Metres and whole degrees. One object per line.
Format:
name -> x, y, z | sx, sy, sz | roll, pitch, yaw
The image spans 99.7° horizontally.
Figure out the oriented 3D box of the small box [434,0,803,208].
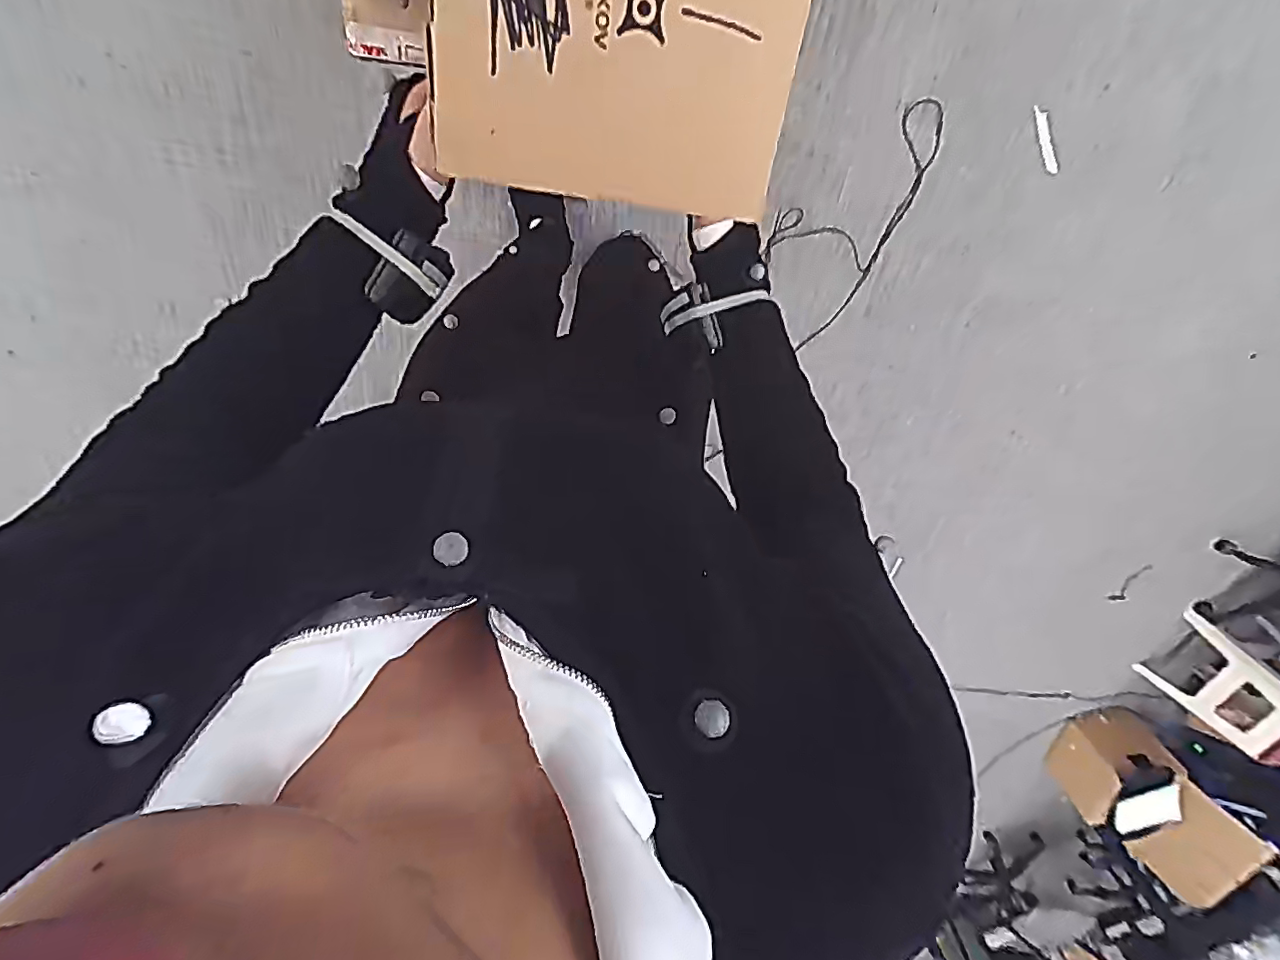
small box -> -0.018, -0.271, 0.322 | 0.179, 0.176, 0.168 | 3, 121, -12
